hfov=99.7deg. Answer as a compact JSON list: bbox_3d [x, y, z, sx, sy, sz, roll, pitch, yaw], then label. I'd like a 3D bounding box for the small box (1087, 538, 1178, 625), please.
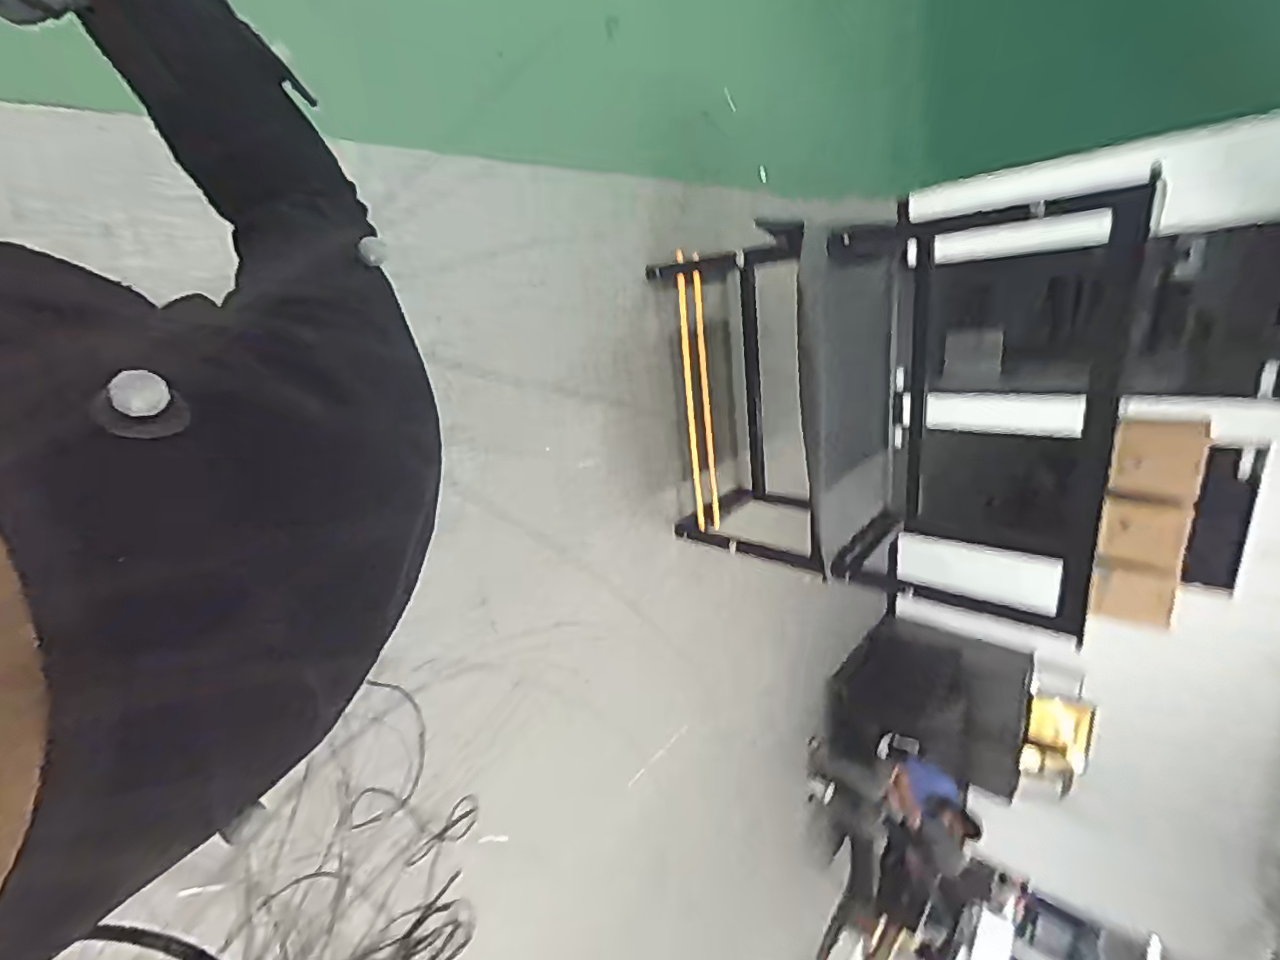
[{"bbox_3d":[1.367,0.275,1.507,0.179,0.176,0.168,-22,113,-44],"label":"small box"}]

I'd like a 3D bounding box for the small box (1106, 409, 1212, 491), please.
[{"bbox_3d":[1.326,-0.086,1.388,0.179,0.176,0.168,-23,114,-43],"label":"small box"}]
